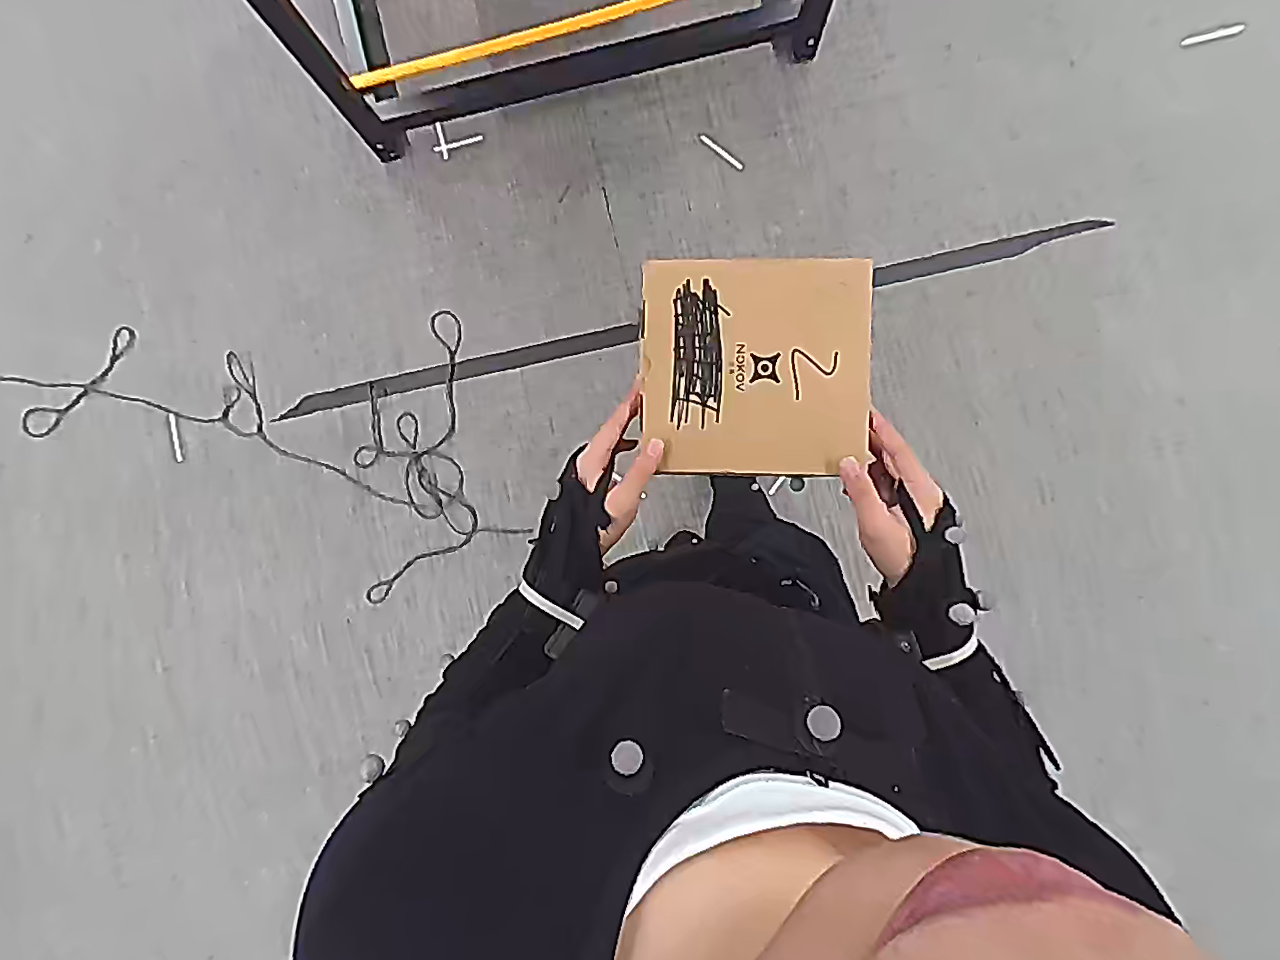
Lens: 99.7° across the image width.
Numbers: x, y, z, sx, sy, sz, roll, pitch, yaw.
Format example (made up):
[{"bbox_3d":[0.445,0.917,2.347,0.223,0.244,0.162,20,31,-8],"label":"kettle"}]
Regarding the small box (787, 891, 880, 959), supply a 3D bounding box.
[{"bbox_3d":[0.456,1.105,1.260,0.168,0.176,0.179,-15,89,1],"label":"small box"}]
